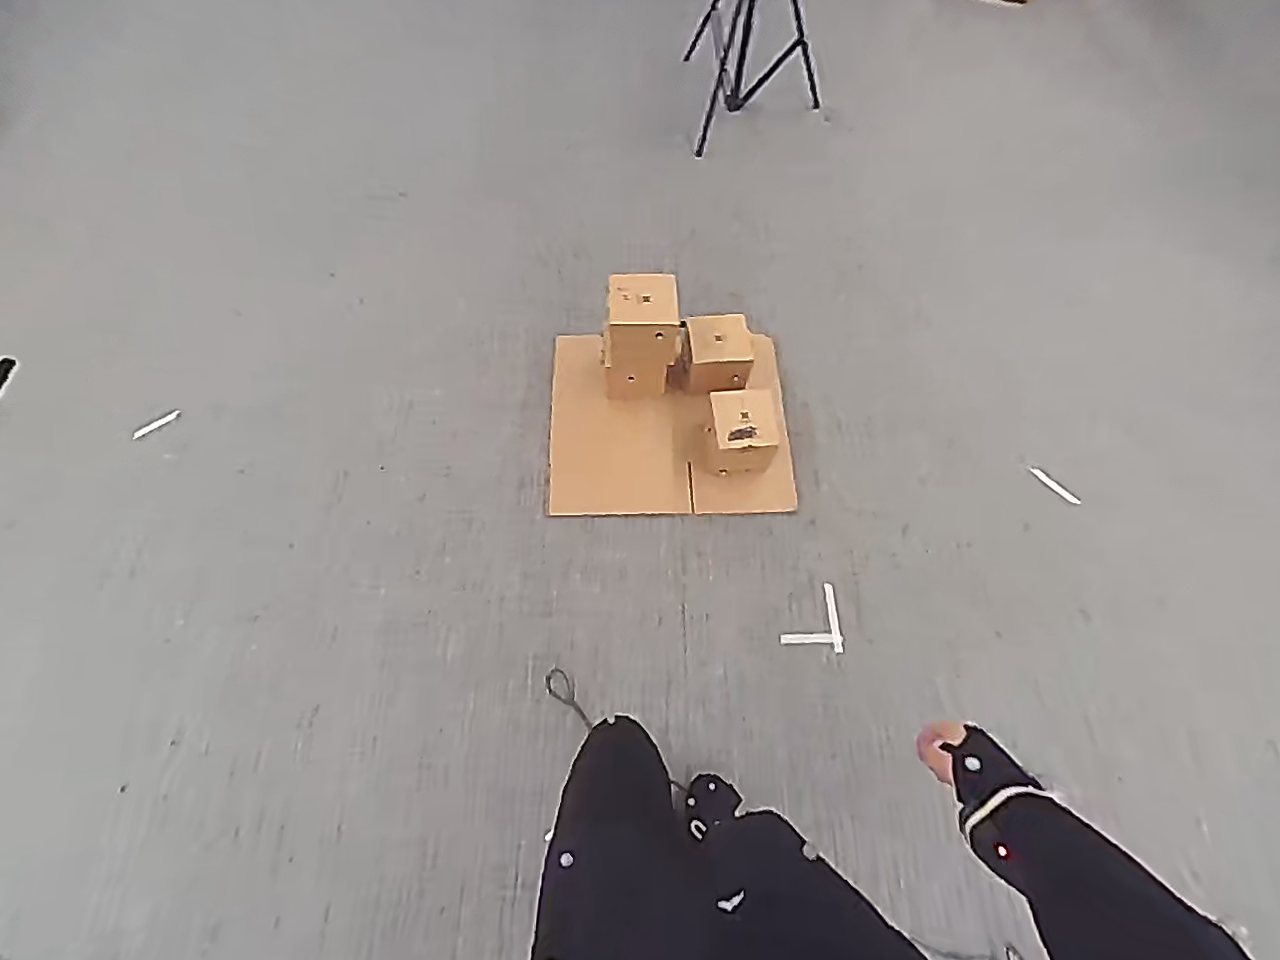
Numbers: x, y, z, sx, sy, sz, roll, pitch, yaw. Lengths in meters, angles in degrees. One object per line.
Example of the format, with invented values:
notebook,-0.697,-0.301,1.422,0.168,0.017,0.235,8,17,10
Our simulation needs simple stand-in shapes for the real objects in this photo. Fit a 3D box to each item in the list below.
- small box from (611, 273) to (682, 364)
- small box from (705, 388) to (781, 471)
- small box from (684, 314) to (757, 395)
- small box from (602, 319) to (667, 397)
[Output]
small box,0.013,-0.422,1.431,0.179,0.176,0.168,-1,66,-1
small box,0.279,-0.132,1.493,0.168,0.176,0.179,-4,67,-3
small box,0.230,-0.367,1.596,0.179,0.176,0.168,-5,66,-2
small box,-0.014,-0.357,1.583,0.179,0.176,0.168,-5,67,-2
